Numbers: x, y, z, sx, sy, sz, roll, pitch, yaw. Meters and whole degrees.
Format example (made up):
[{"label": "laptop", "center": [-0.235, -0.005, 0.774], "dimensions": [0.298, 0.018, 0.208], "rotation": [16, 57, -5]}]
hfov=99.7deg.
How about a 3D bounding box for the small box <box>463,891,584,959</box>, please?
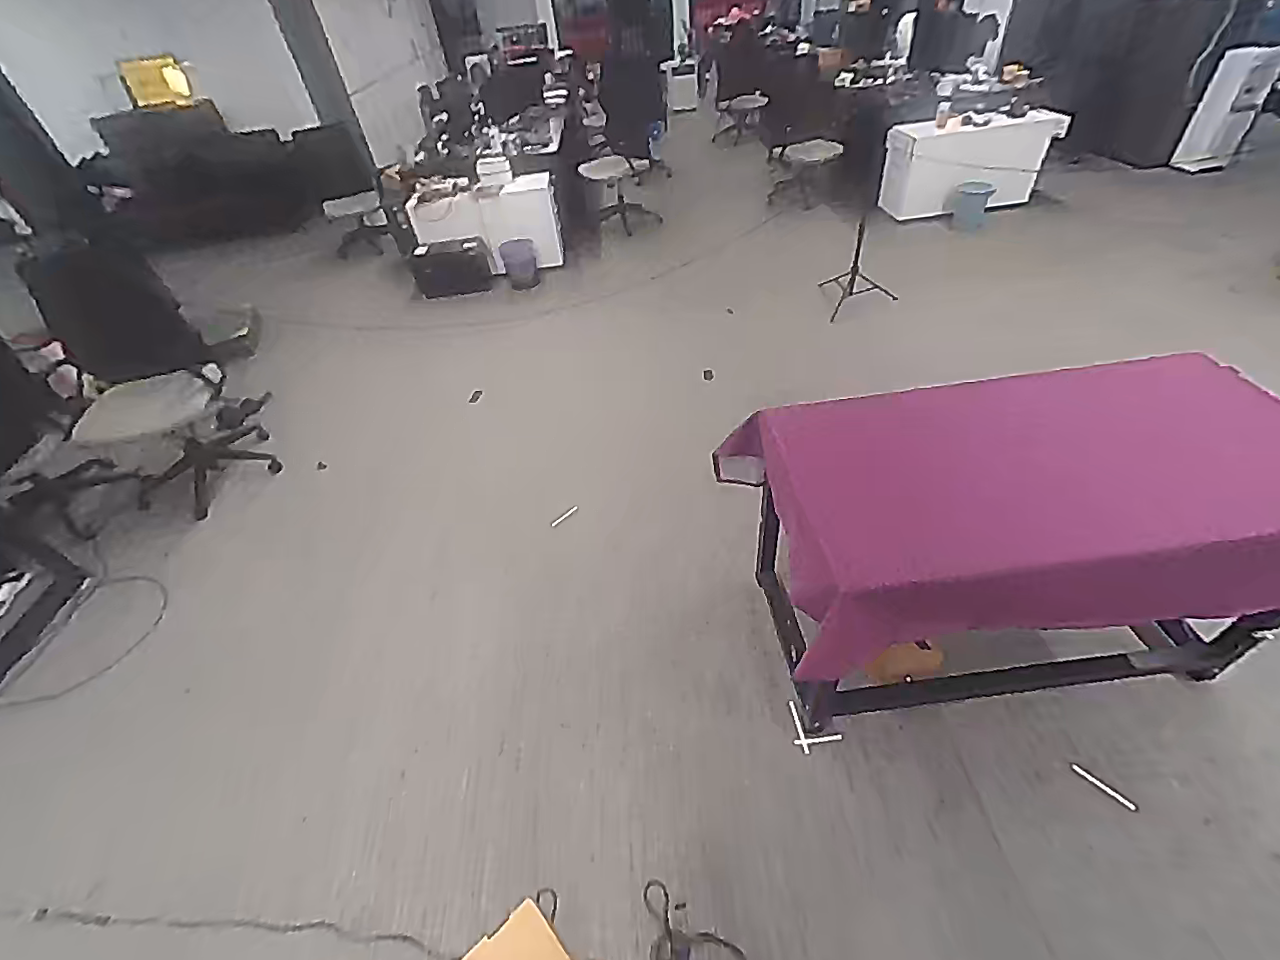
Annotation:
[{"label": "small box", "center": [-0.131, 0.643, 0.634], "dimensions": [0.168, 0.176, 0.179], "rotation": [-33, 52, -29]}]
